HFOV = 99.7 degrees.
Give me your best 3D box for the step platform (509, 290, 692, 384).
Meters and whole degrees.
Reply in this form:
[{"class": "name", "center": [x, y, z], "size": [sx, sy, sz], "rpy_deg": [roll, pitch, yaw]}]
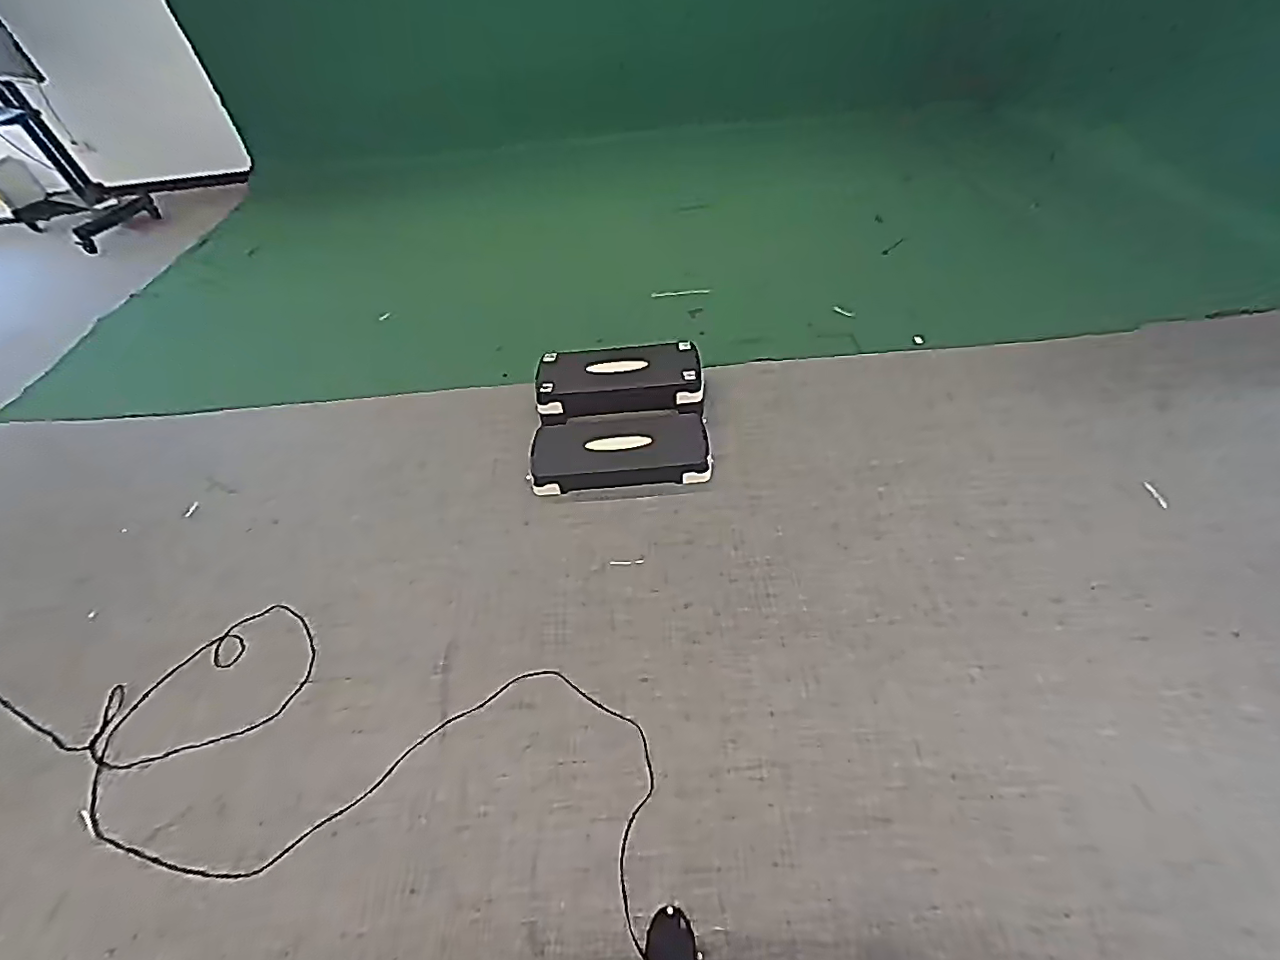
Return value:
[{"class": "step platform", "center": [-0.142, -0.552, 2.094], "size": [0.684, 0.204, 0.286], "rpy_deg": [-5, 49, 3]}]
